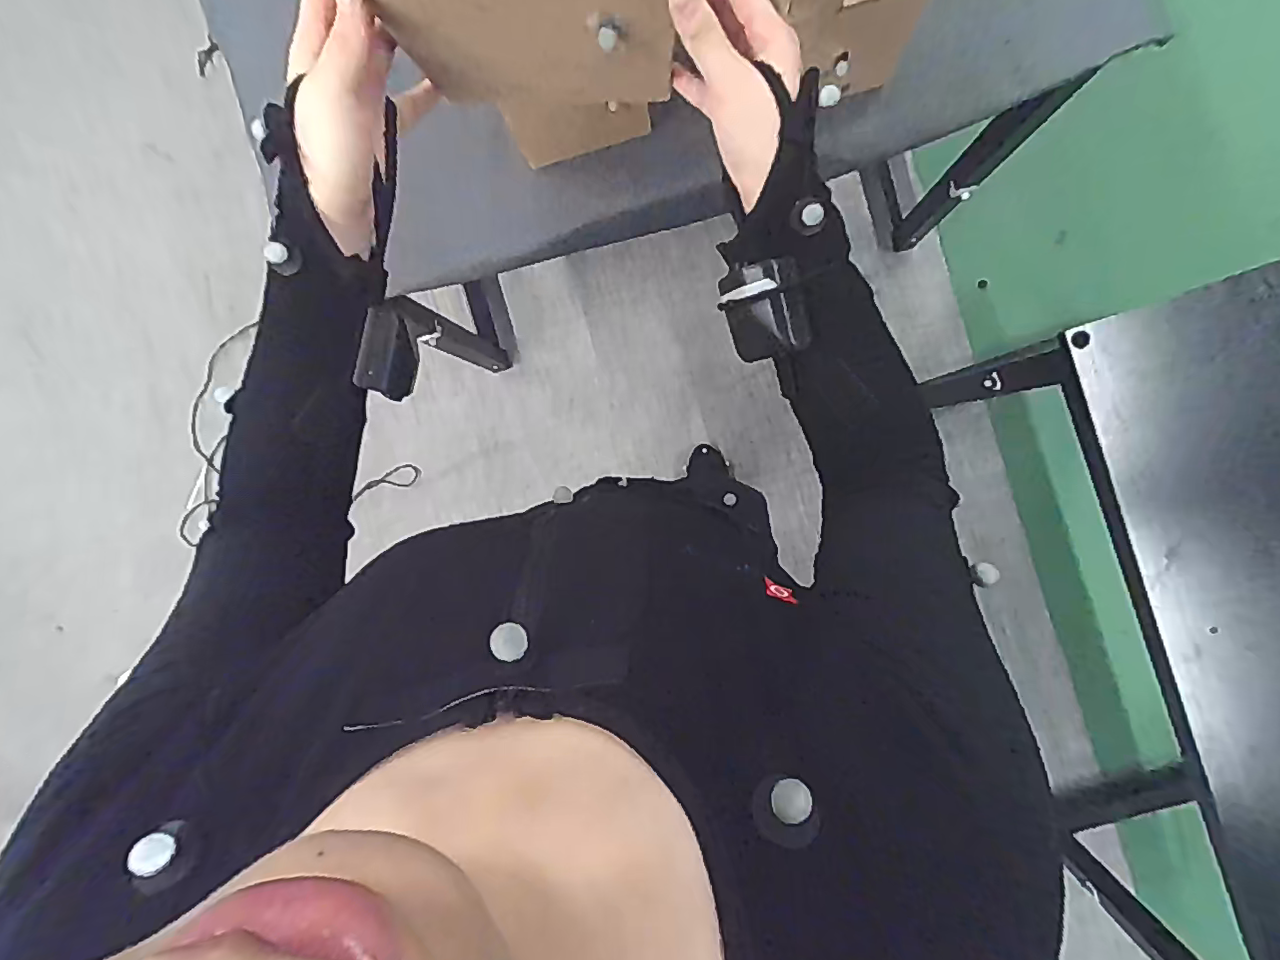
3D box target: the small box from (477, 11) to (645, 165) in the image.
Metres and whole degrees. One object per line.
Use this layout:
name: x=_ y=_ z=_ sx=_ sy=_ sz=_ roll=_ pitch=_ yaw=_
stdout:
small box: x=-0.097 y=-0.531 z=0.665 sx=0.179 sy=0.176 sz=0.168 roll=-15 pitch=89 yaw=7

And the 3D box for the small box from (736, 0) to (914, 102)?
small box: x=0.212 y=-0.584 z=0.628 sx=0.168 sy=0.176 sz=0.179 roll=-14 pitch=91 yaw=7
